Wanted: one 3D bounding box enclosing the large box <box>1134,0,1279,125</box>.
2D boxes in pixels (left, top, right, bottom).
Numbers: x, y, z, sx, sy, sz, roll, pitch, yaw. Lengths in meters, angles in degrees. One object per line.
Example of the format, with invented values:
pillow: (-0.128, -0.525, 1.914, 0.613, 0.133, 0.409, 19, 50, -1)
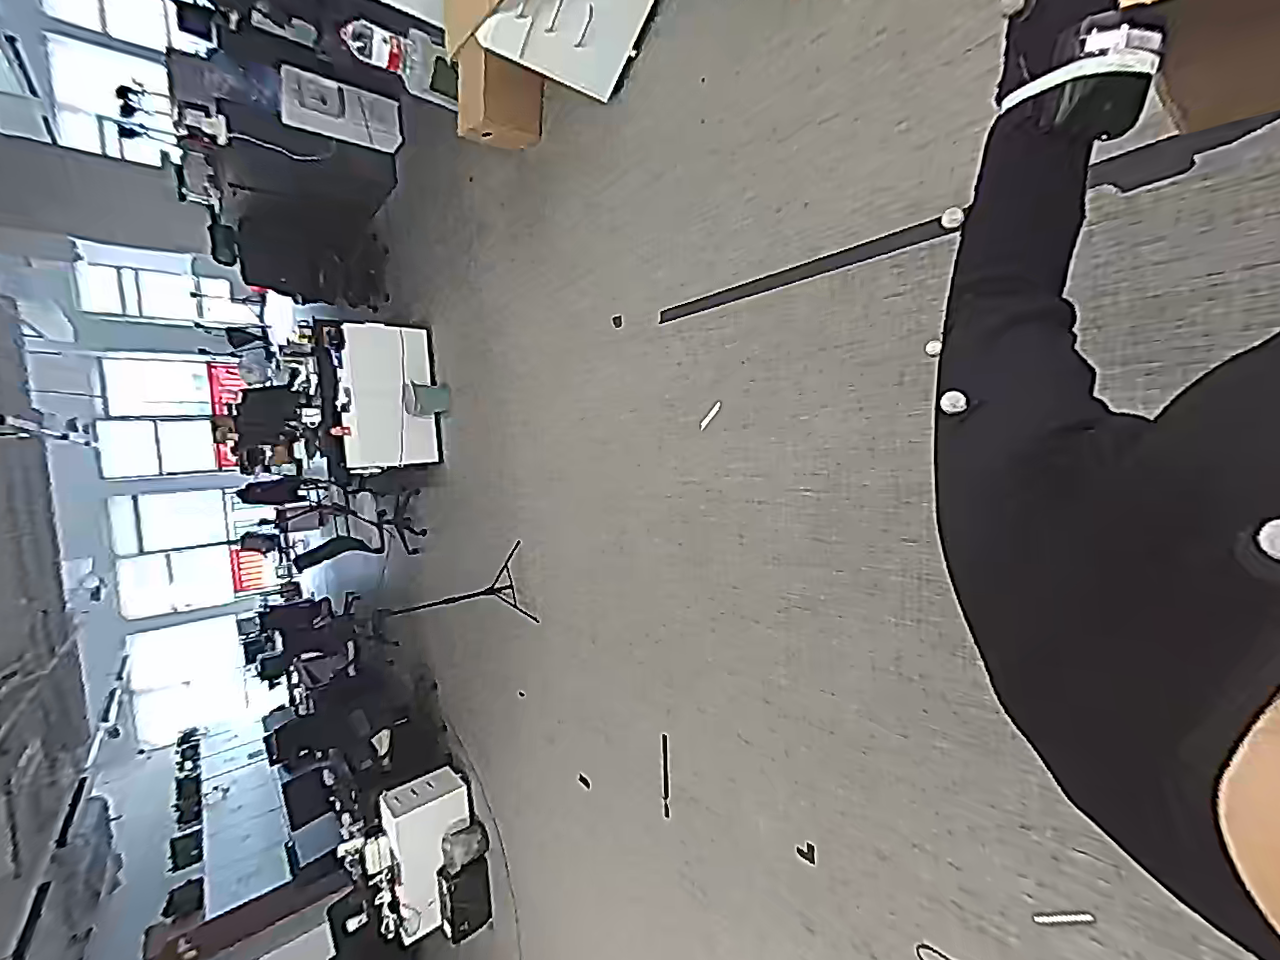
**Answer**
large box: (0.555, -0.466, 0.281, 0.408, 0.320, 0.320, 8, 106, 49)
